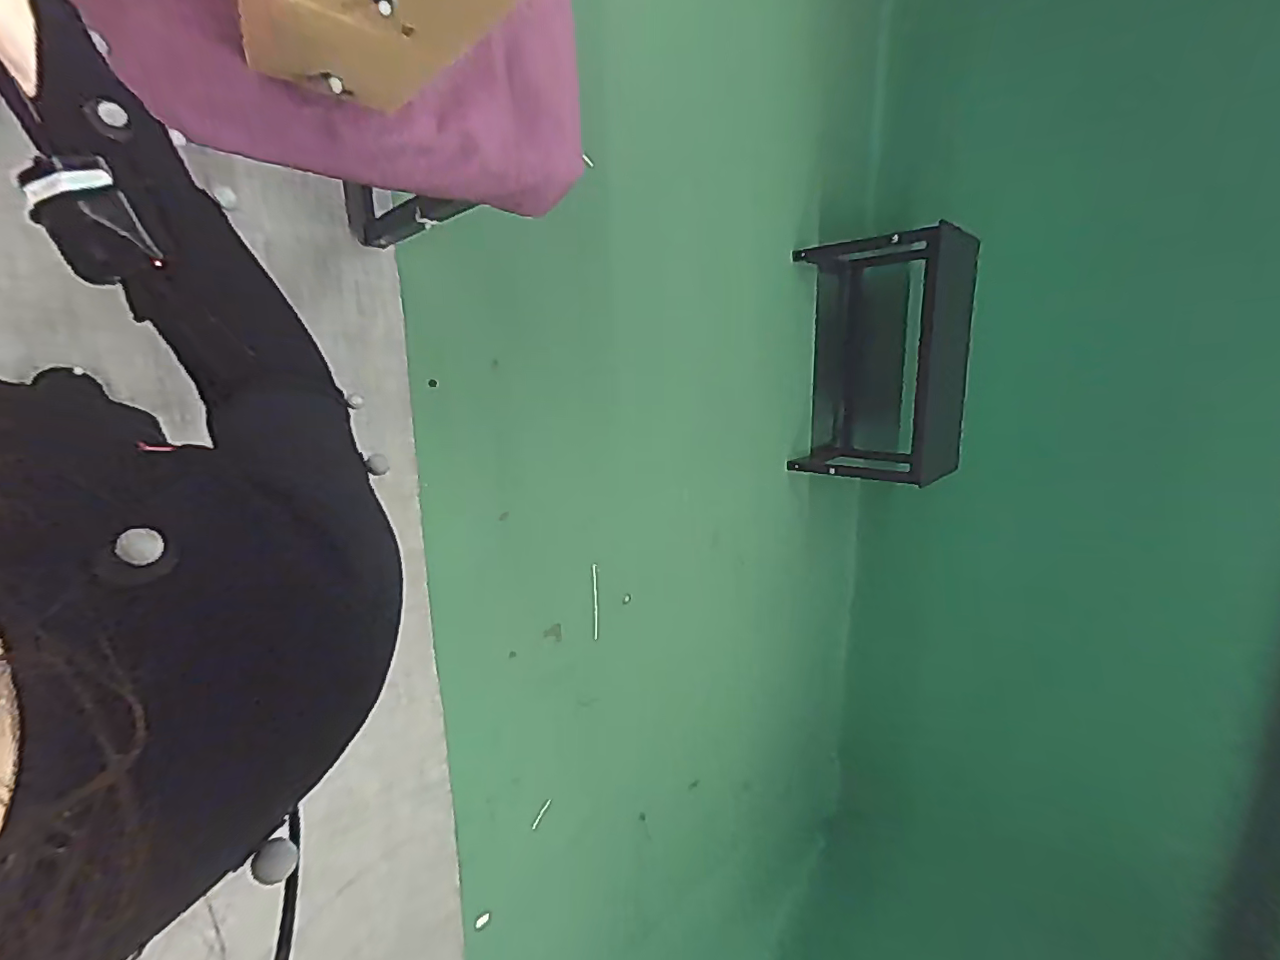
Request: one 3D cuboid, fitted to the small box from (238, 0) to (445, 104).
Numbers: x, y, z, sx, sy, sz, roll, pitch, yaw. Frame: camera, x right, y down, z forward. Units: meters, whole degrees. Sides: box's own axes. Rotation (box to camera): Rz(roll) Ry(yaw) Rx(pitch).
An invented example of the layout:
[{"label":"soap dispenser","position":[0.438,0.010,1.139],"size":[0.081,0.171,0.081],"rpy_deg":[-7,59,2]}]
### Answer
[{"label":"small box","position":[-0.340,-0.568,0.605],"size":[0.168,0.176,0.179],"rpy_deg":[-12,106,-45]}]
